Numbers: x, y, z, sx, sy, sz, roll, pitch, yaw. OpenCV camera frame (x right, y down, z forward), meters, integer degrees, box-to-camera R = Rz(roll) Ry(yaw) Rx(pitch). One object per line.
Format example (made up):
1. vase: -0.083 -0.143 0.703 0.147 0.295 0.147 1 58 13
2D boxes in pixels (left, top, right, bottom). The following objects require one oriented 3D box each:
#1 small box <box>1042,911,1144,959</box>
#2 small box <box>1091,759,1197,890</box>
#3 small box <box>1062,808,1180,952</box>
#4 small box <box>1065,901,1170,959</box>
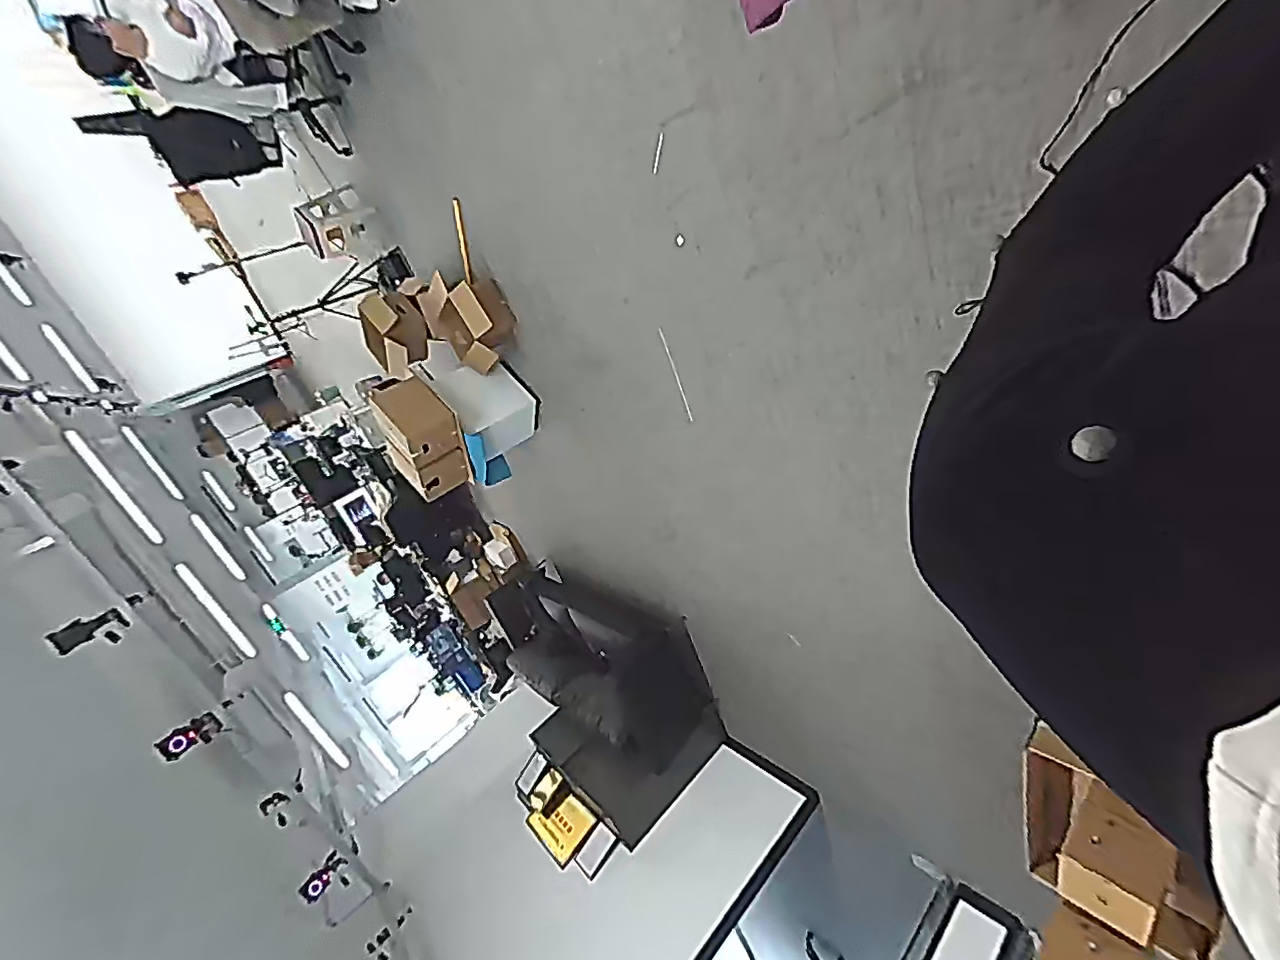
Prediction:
1. small box: 1.057 1.172 1.256 0.168 0.176 0.179 11 125 51
2. small box: 1.226 0.831 1.322 0.168 0.176 0.179 14 132 50
3. small box: 1.105 0.908 1.245 0.168 0.176 0.179 17 134 50
4. small box: 1.182 1.109 1.344 0.168 0.176 0.179 14 128 51
